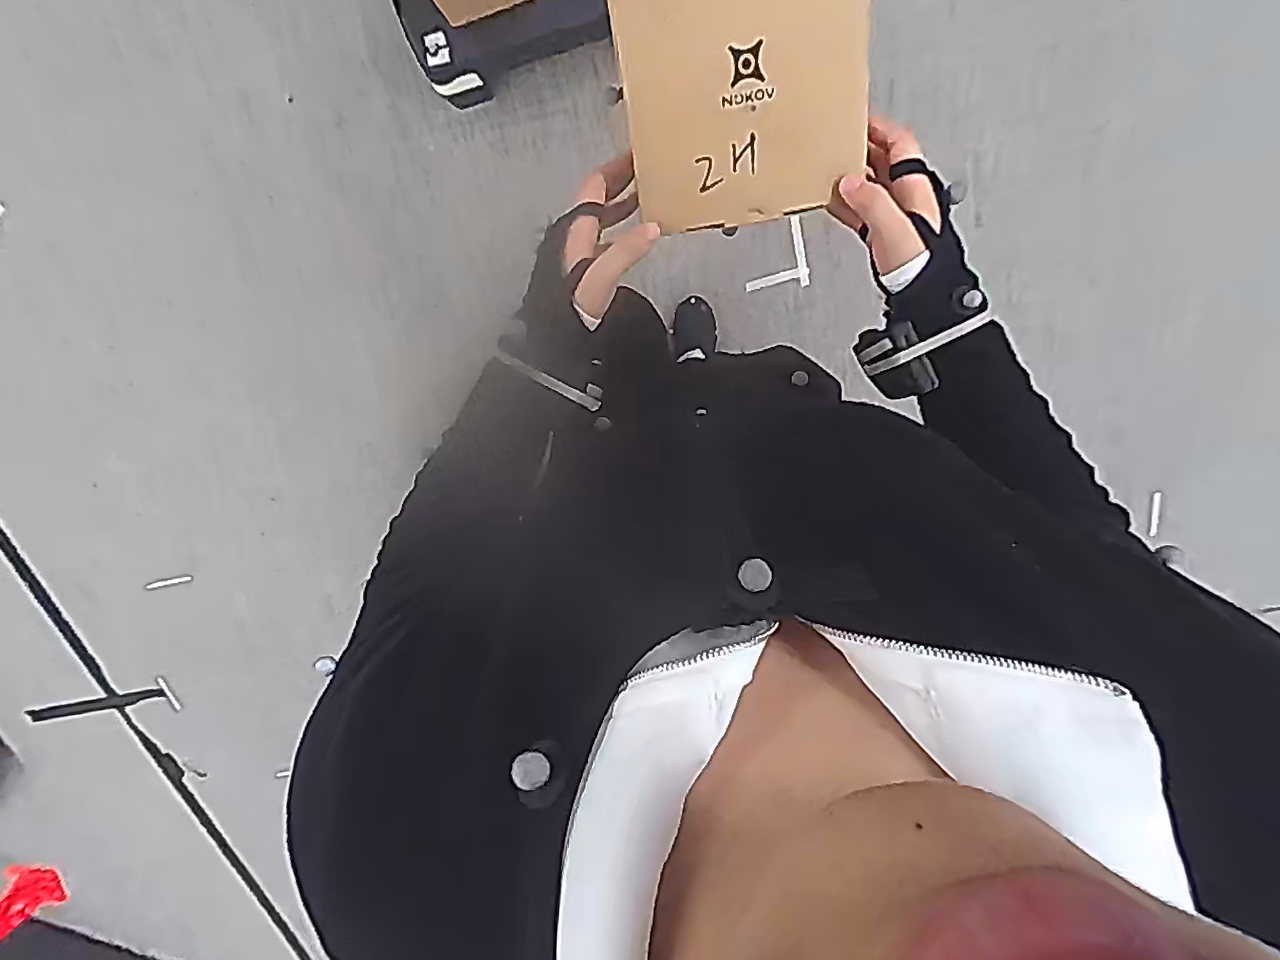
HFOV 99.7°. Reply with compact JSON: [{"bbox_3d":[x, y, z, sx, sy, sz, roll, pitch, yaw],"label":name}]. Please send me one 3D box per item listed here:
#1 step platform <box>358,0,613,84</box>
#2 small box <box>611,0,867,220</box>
[{"bbox_3d":[-0.132,-0.919,0.878,0.684,0.204,0.286,-14,109,5],"label":"step platform"},{"bbox_3d":[0.068,-0.318,0.437,0.168,0.176,0.179,-8,117,4],"label":"small box"}]
